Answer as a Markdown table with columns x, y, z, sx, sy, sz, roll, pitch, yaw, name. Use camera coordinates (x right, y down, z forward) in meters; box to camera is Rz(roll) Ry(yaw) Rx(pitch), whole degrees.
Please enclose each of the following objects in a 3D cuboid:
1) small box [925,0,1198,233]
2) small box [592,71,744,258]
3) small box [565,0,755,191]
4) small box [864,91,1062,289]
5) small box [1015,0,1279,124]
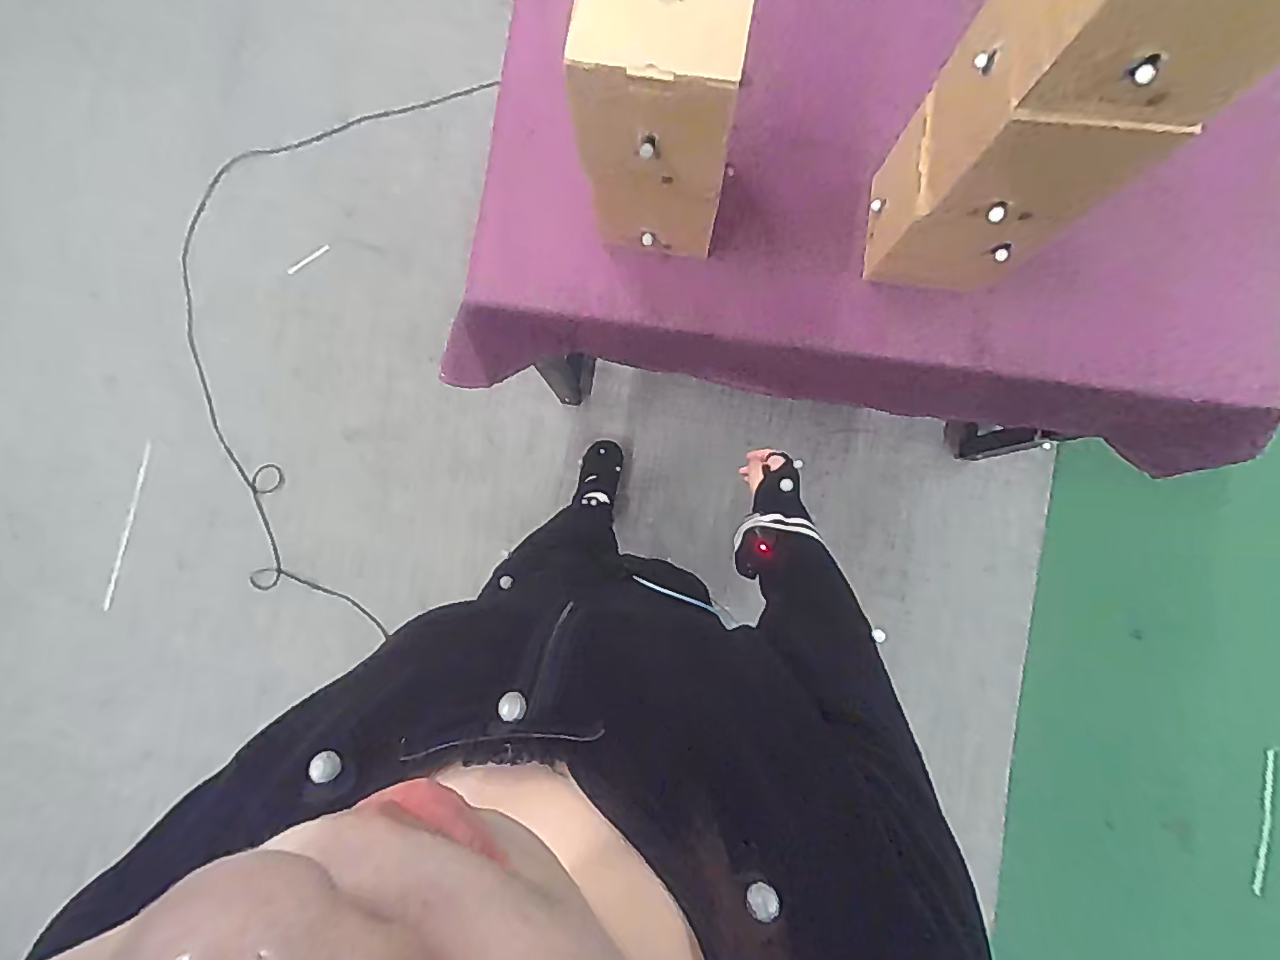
| x | y | z | sx | sy | sz | roll | pitch | yaw | name |
| --- | --- | --- | --- | --- | --- | --- | --- | --- | --- |
| 0.425 | -0.393 | 0.569 | 0.168 | 0.176 | 0.179 | 7 | 86 | 3 | small box |
| 0.036 | -0.440 | 0.746 | 0.168 | 0.176 | 0.179 | 10 | 86 | 2 | small box |
| 0.027 | -0.447 | 0.582 | 0.168 | 0.176 | 0.179 | 10 | 86 | 2 | small box |
| 0.430 | -0.377 | 0.731 | 0.179 | 0.176 | 0.168 | 8 | 85 | 2 | small box |
| 0.419 | -0.414 | 0.408 | 0.168 | 0.176 | 0.179 | 5 | 86 | 2 | small box |
